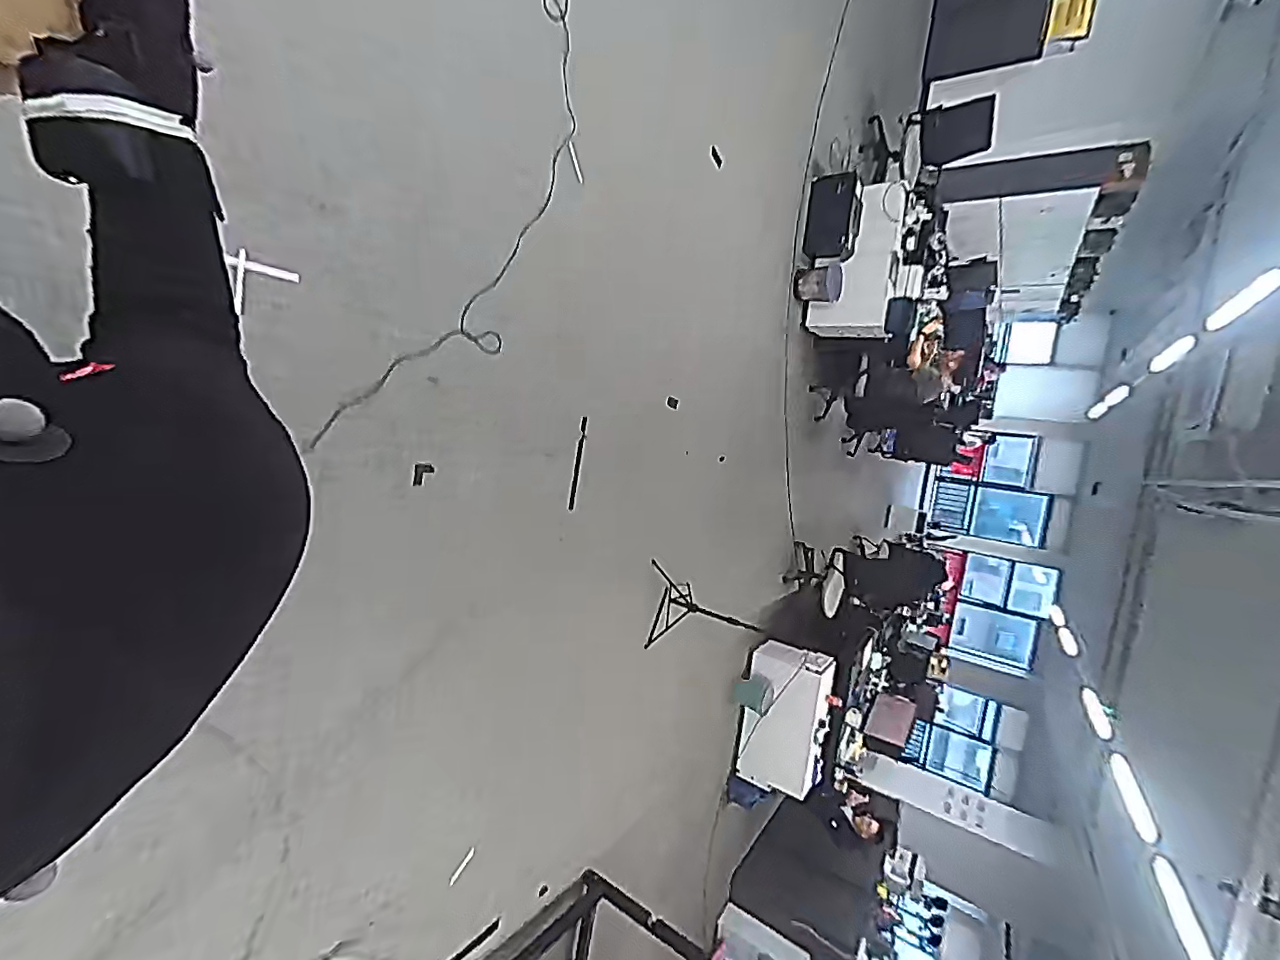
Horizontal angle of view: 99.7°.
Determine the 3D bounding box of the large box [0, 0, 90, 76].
[{"bbox_3d":[-0.576,-0.416,0.219,0.408,0.320,0.320,-22,128,-54],"label":"large box"}]
